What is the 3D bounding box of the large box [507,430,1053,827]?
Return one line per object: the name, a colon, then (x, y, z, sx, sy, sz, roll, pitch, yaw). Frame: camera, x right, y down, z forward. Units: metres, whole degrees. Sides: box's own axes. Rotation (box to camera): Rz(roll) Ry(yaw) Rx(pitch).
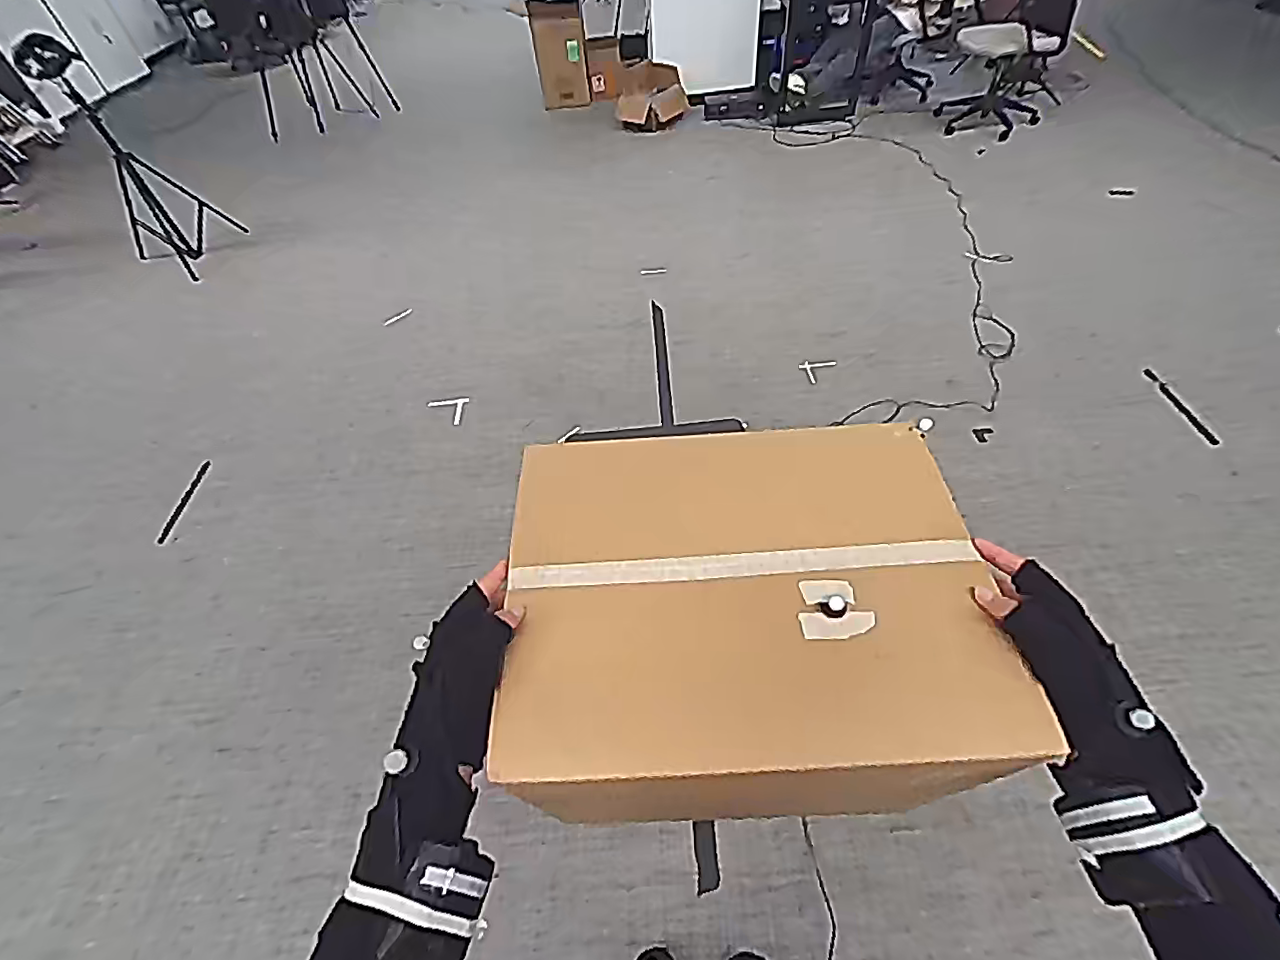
large box: (0.098, 0.172, 0.593, 0.408, 0.320, 0.320, -3, 53, 0)
